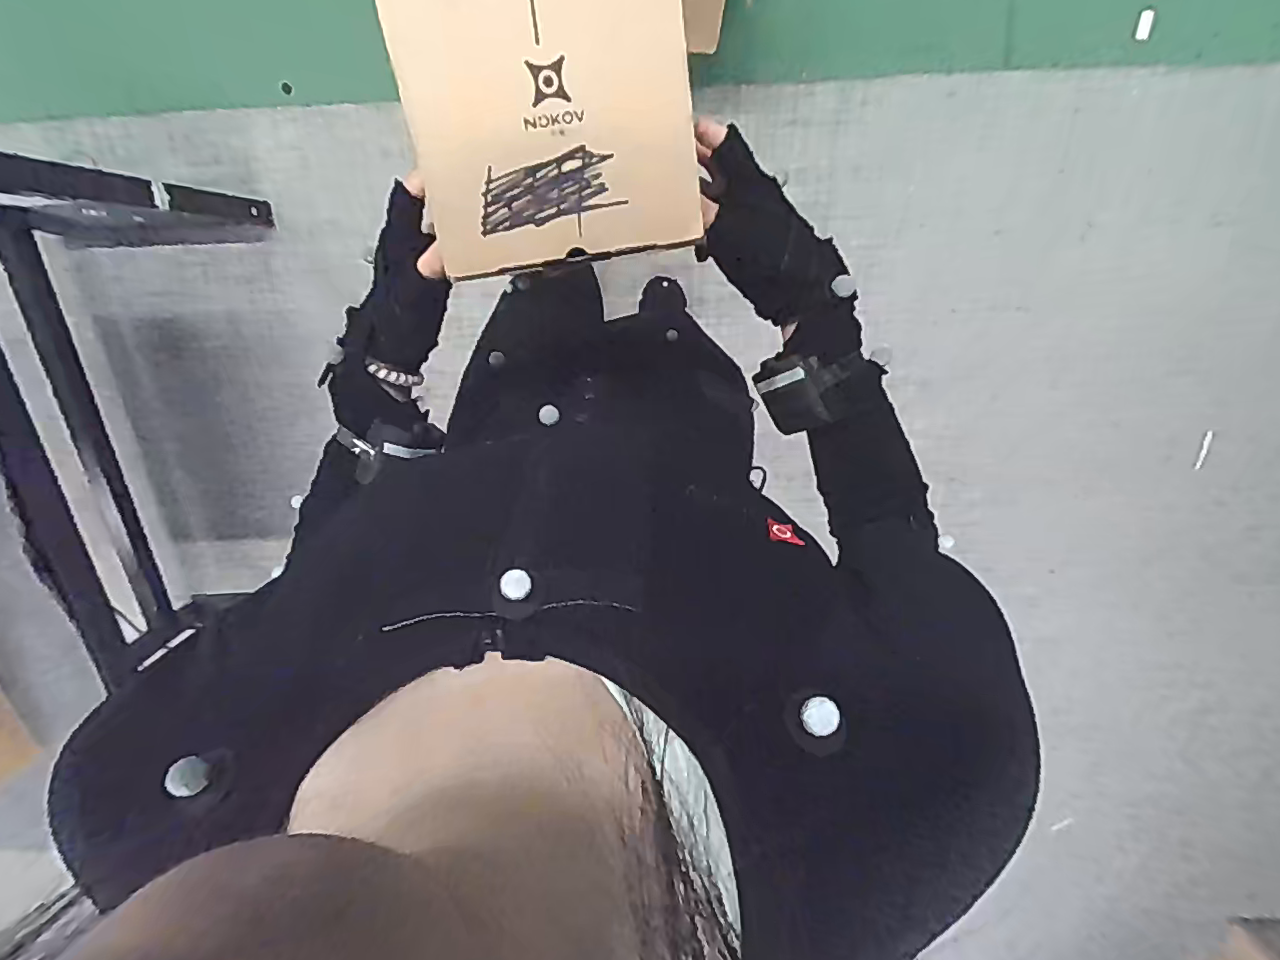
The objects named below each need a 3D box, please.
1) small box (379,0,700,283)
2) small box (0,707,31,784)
[{"bbox_3d":[-0.059,-0.245,0.386,0.168,0.176,0.179,-10,111,-3],"label":"small box"},{"bbox_3d":[-1.149,0.443,0.846,0.168,0.176,0.179,-6,110,3],"label":"small box"}]
